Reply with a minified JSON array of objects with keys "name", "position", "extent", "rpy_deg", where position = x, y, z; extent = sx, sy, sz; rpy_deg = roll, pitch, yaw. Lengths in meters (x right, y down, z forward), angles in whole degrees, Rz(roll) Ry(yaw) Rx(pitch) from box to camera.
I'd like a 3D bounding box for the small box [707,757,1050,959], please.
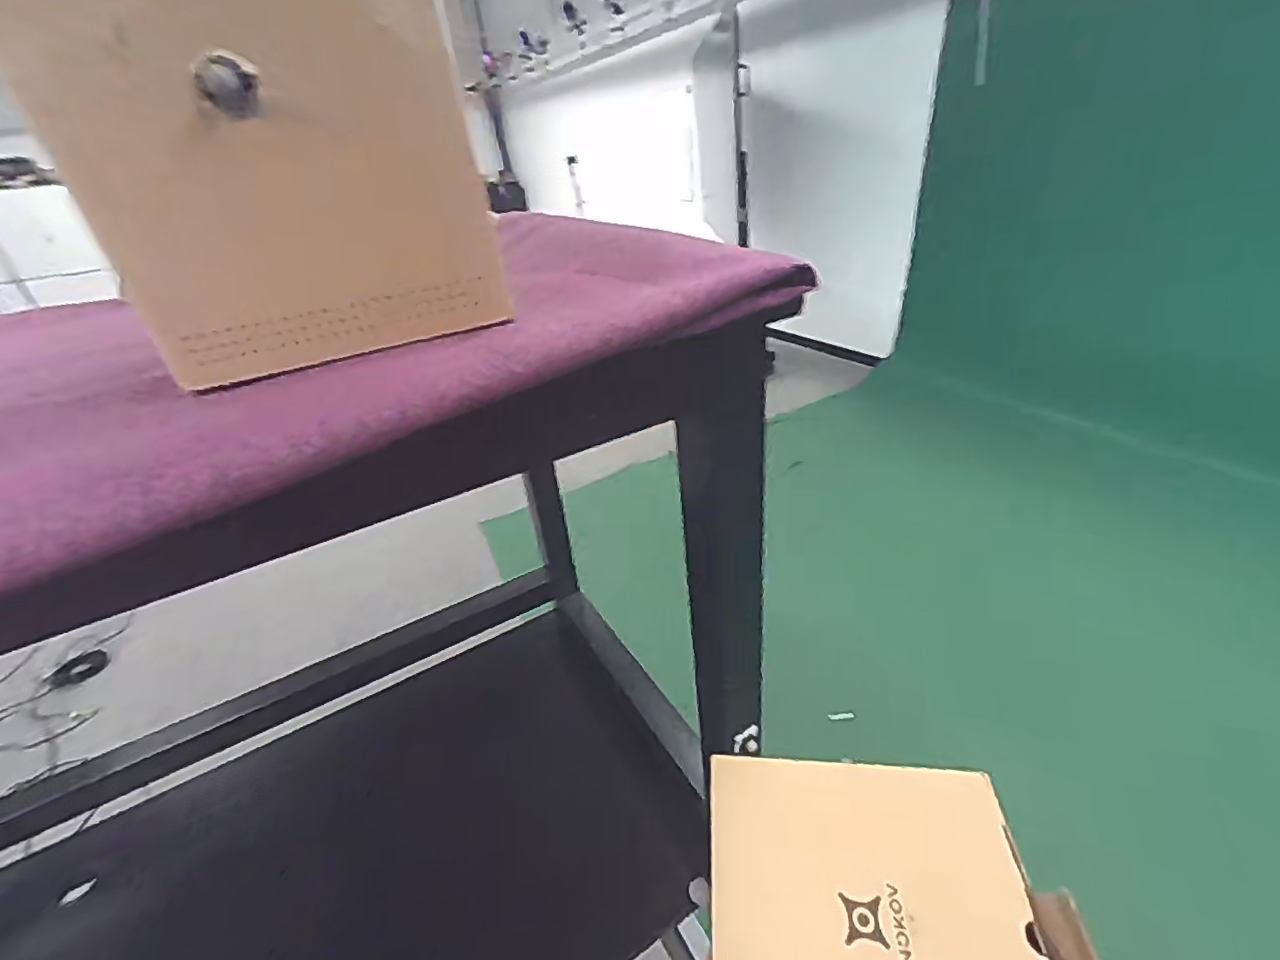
[{"name":"small box","position":[0.133,0.302,0.348],"extent":[0.179,0.176,0.168],"rpy_deg":[1,42,7]}]
